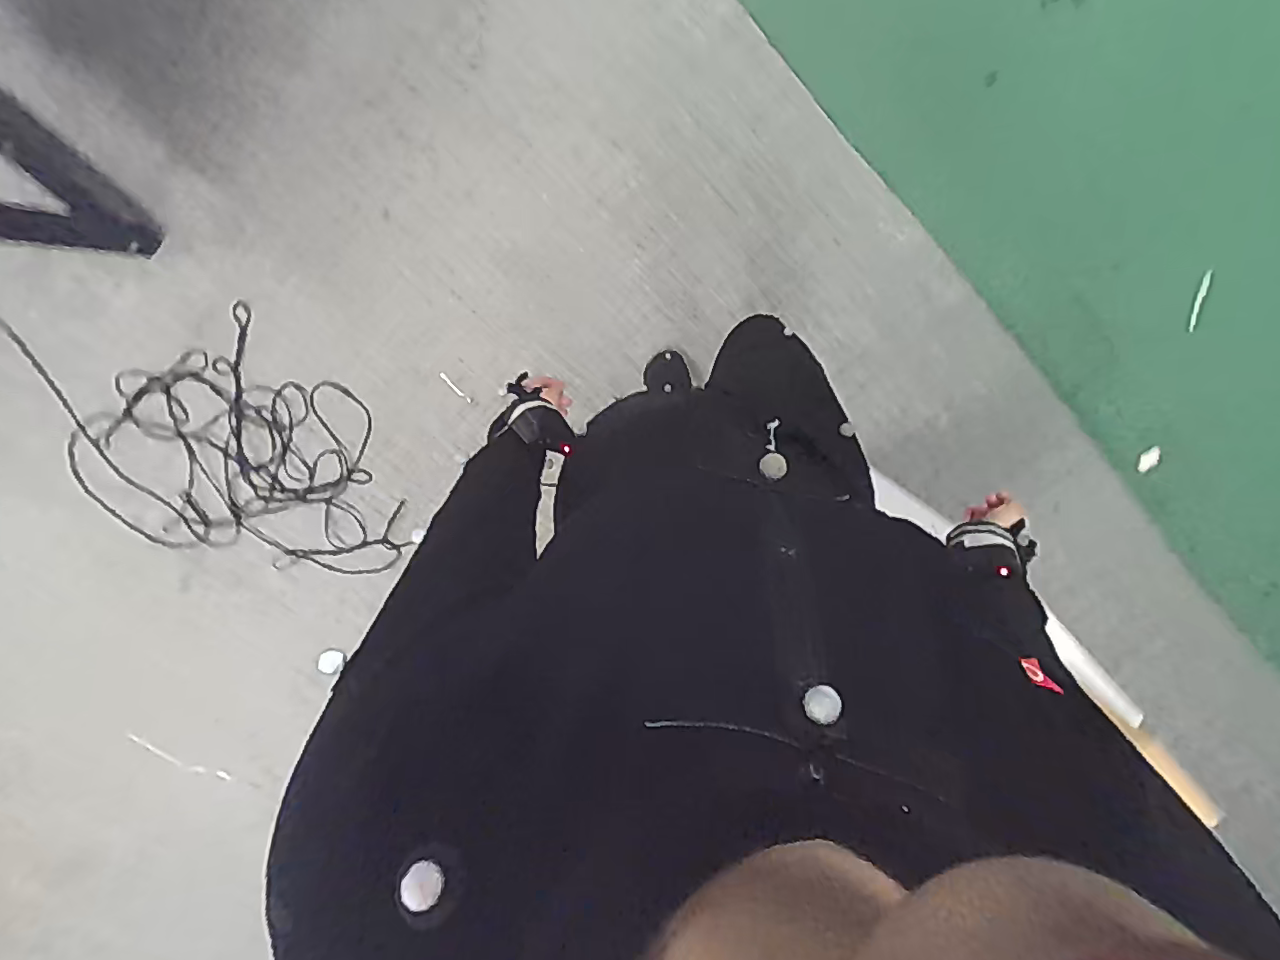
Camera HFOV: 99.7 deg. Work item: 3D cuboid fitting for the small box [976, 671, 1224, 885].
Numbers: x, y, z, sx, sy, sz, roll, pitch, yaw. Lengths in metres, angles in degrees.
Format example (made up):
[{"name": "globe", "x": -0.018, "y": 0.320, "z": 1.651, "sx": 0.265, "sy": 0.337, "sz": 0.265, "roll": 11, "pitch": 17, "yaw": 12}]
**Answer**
[{"name": "small box", "x": 0.636, "y": 0.413, "z": 0.772, "sx": 0.168, "sy": 0.176, "sz": 0.179, "roll": -43, "pitch": 100, "yaw": 13}]
